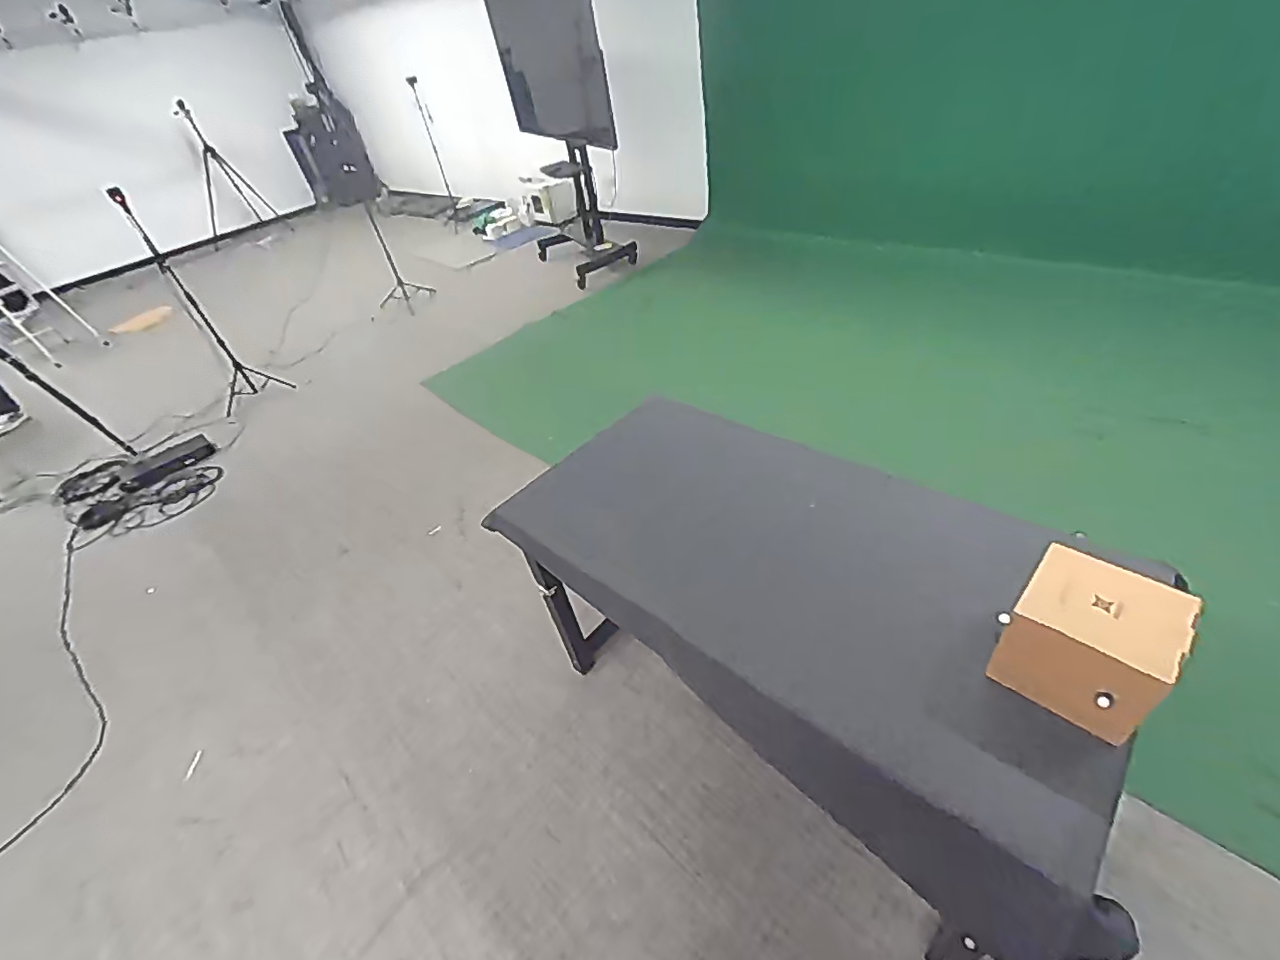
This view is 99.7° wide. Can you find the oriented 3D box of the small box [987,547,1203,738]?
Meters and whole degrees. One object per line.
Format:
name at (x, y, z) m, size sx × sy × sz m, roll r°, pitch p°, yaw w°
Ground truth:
small box at (0.639, 0.236, 0.777) m, size 0.168 × 0.176 × 0.179 m, roll -37°, pitch 44°, yaw -29°
